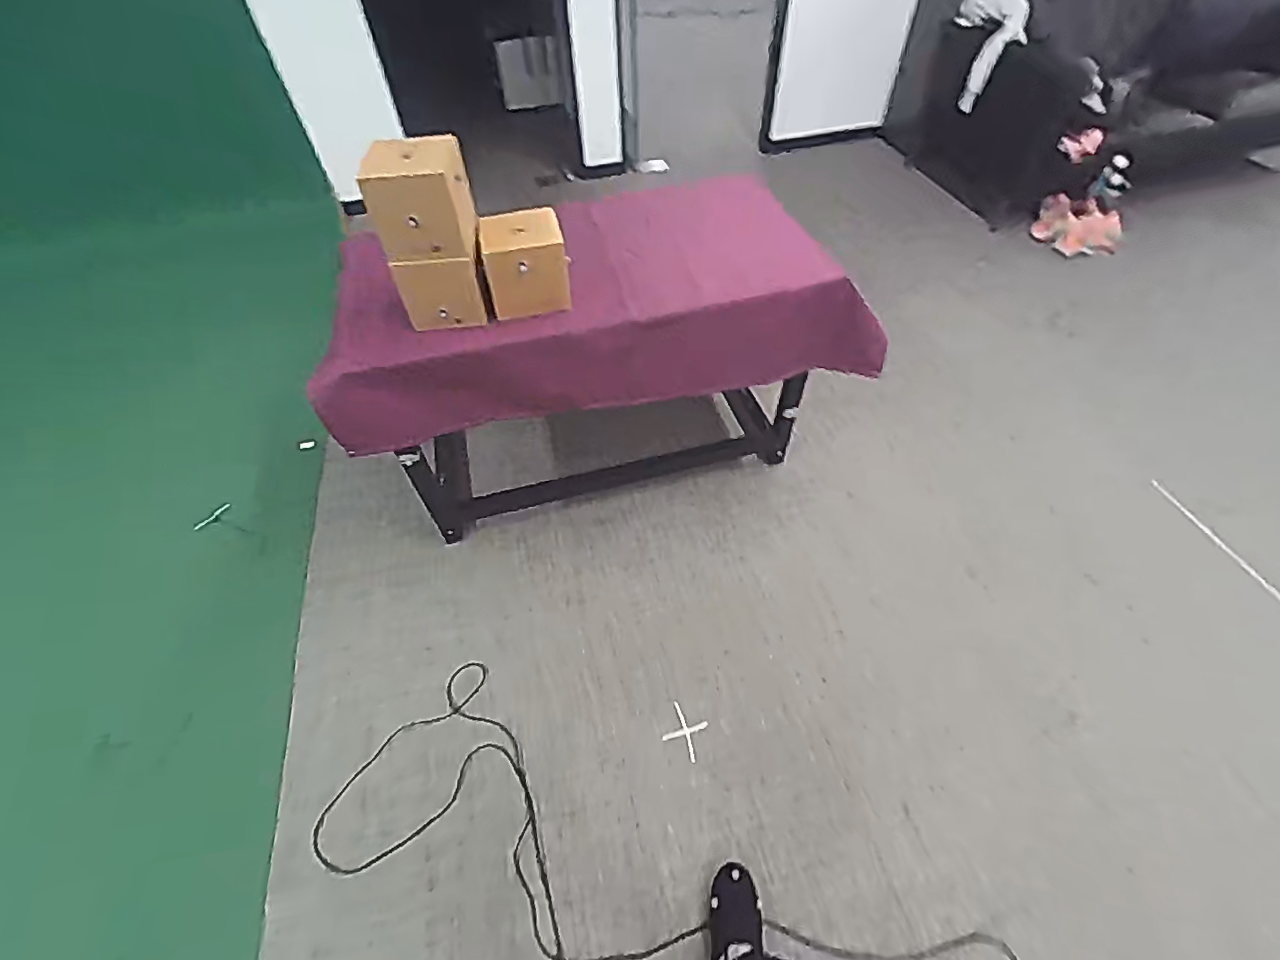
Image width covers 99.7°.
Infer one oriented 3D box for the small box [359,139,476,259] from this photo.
[{"bbox_3d":[-0.442,-0.569,1.109,0.168,0.176,0.179,-4,52,-3],"label":"small box"}]
